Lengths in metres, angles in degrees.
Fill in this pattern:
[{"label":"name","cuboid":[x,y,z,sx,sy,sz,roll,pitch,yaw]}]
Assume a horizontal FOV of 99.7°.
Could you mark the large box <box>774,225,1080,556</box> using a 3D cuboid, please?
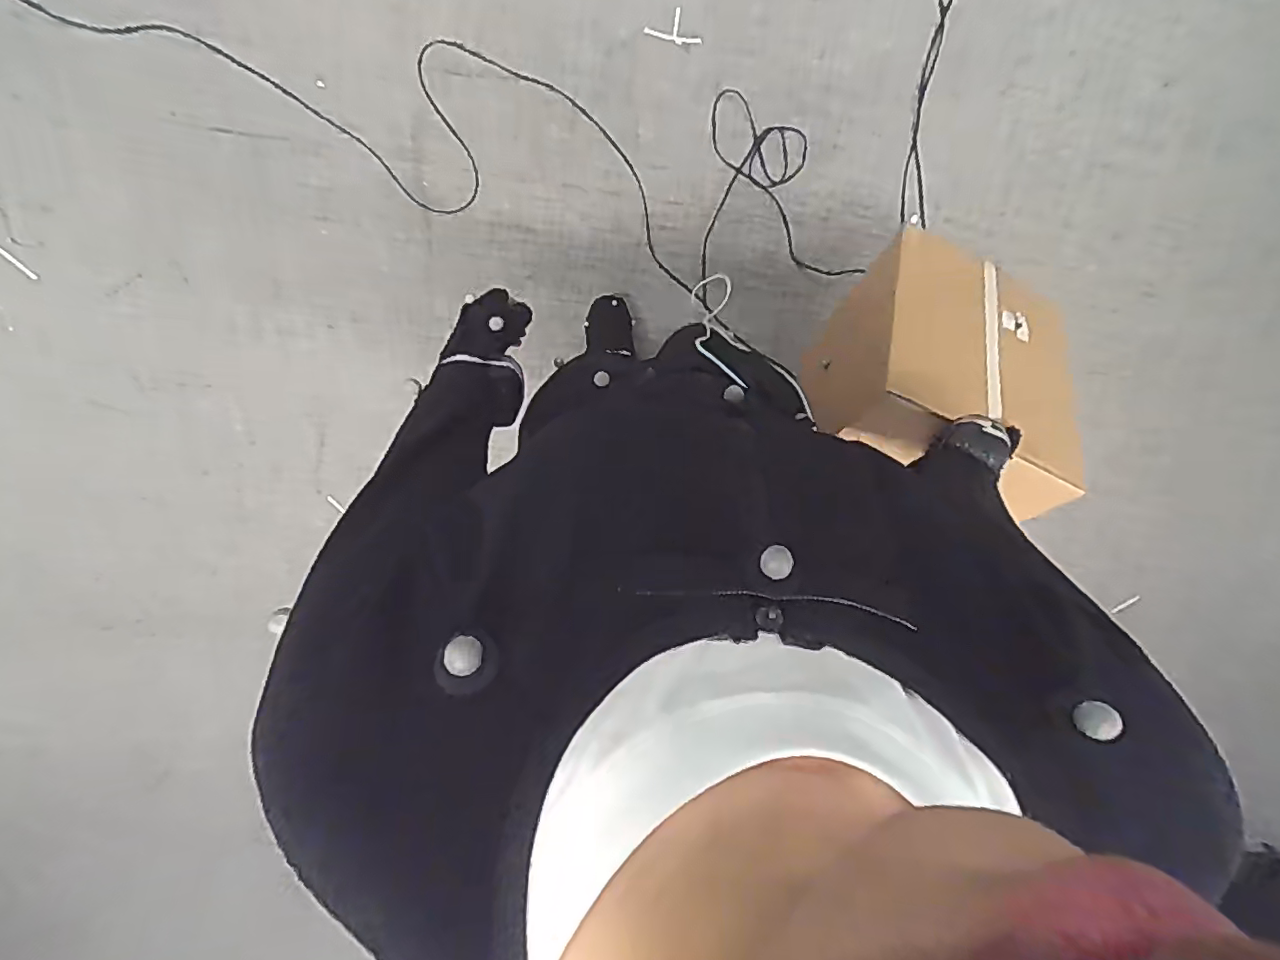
[{"label":"large box","cuboid":[0.468,-0.140,0.936,0.320,0.320,0.408,26,58,-5]}]
